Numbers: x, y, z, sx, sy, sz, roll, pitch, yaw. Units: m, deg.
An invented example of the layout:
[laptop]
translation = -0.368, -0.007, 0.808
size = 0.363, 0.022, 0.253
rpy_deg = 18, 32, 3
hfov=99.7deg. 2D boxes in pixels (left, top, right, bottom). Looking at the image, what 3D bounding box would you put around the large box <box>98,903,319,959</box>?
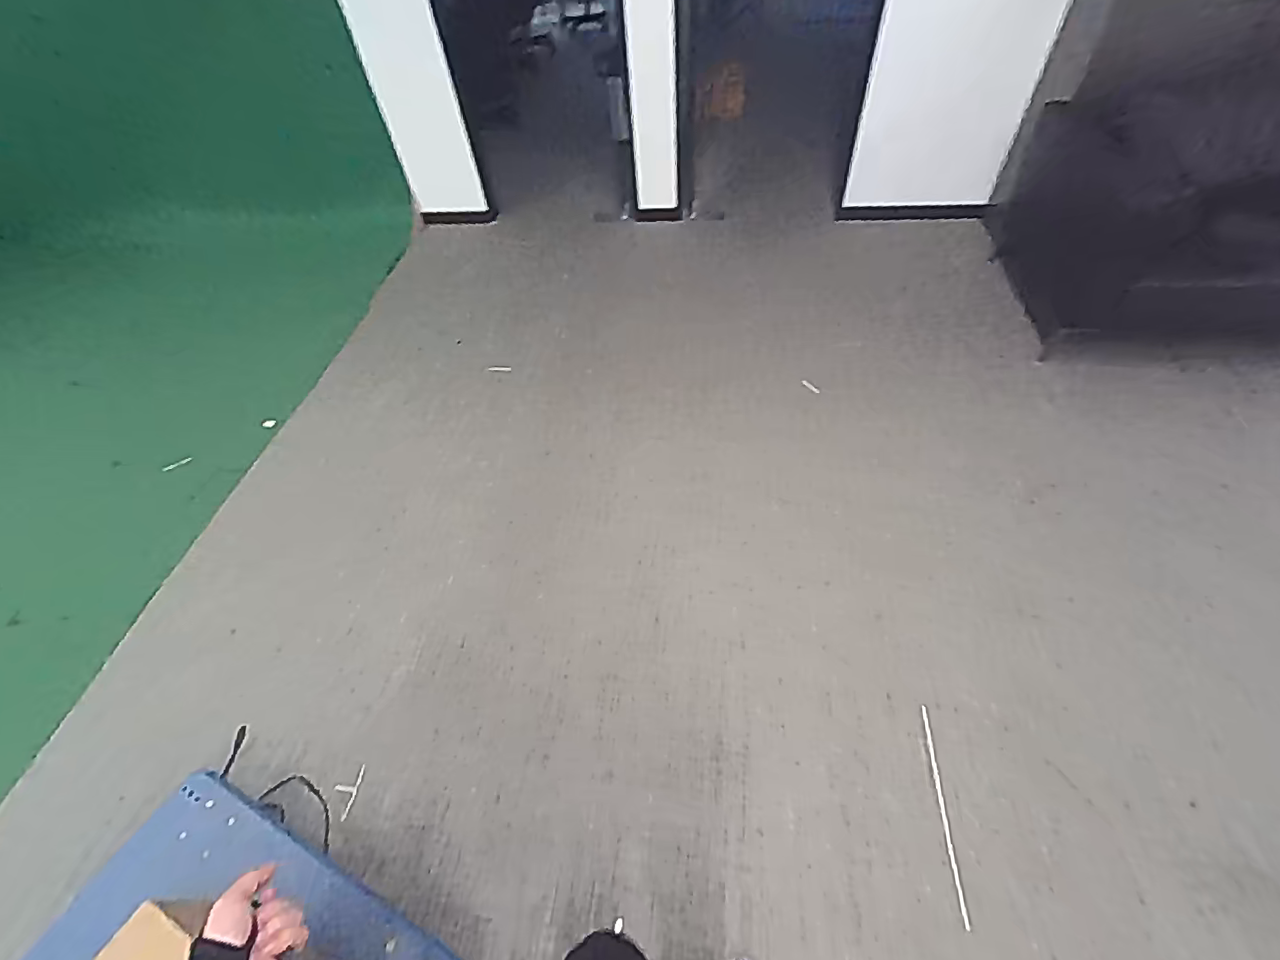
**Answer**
[large box]
translation = -0.724, 0.985, 0.896
size = 0.408, 0.320, 0.320
rpy_deg = 18, 54, 20
